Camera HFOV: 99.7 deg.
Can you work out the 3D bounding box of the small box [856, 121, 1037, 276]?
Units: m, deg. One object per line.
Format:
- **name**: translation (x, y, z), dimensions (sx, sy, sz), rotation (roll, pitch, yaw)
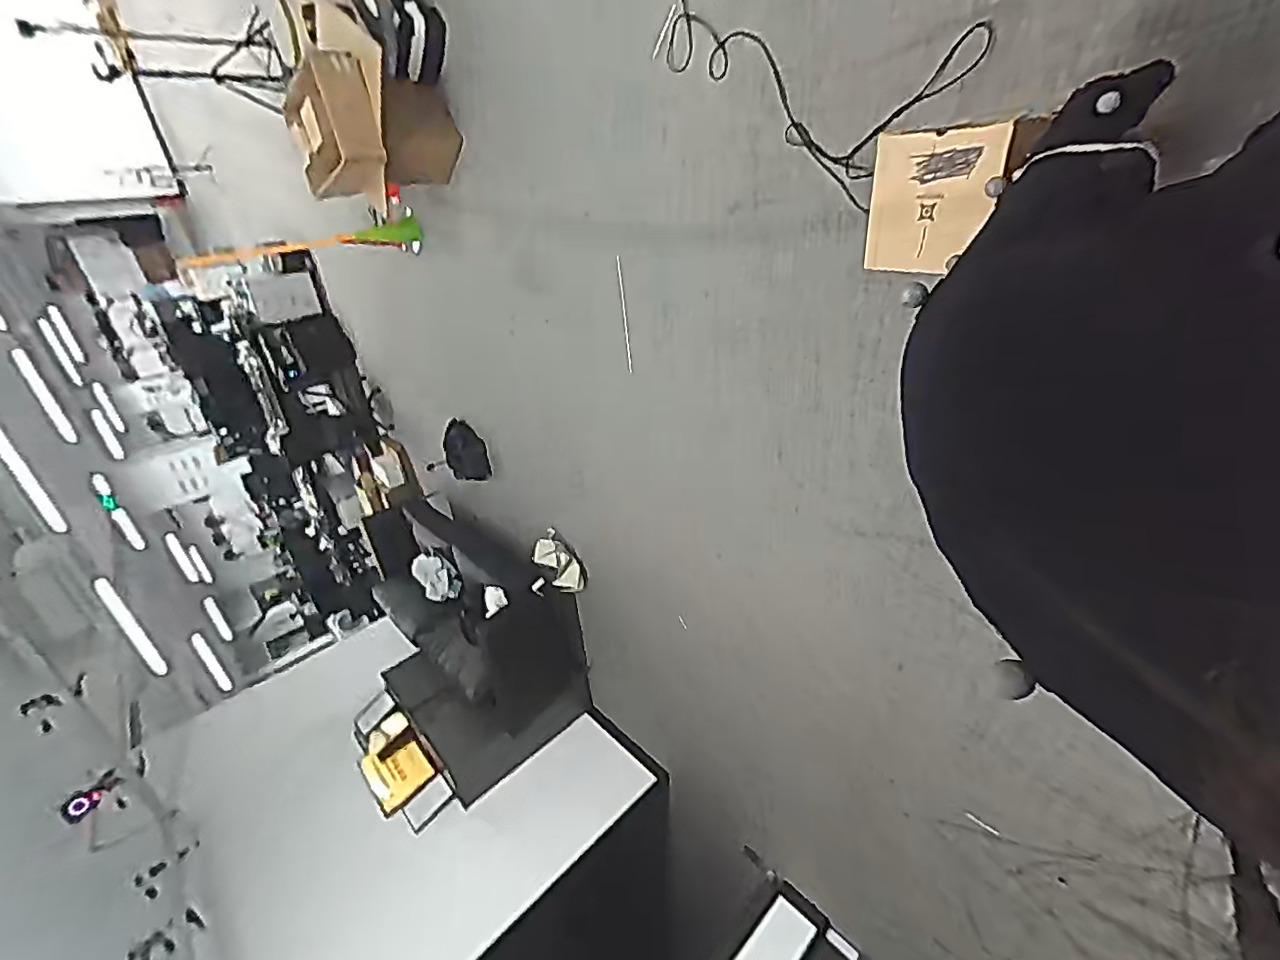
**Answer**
- **small box**: translation (0.439, -0.409, 0.779), dimensions (0.168, 0.176, 0.179), rotation (26, 134, 40)
